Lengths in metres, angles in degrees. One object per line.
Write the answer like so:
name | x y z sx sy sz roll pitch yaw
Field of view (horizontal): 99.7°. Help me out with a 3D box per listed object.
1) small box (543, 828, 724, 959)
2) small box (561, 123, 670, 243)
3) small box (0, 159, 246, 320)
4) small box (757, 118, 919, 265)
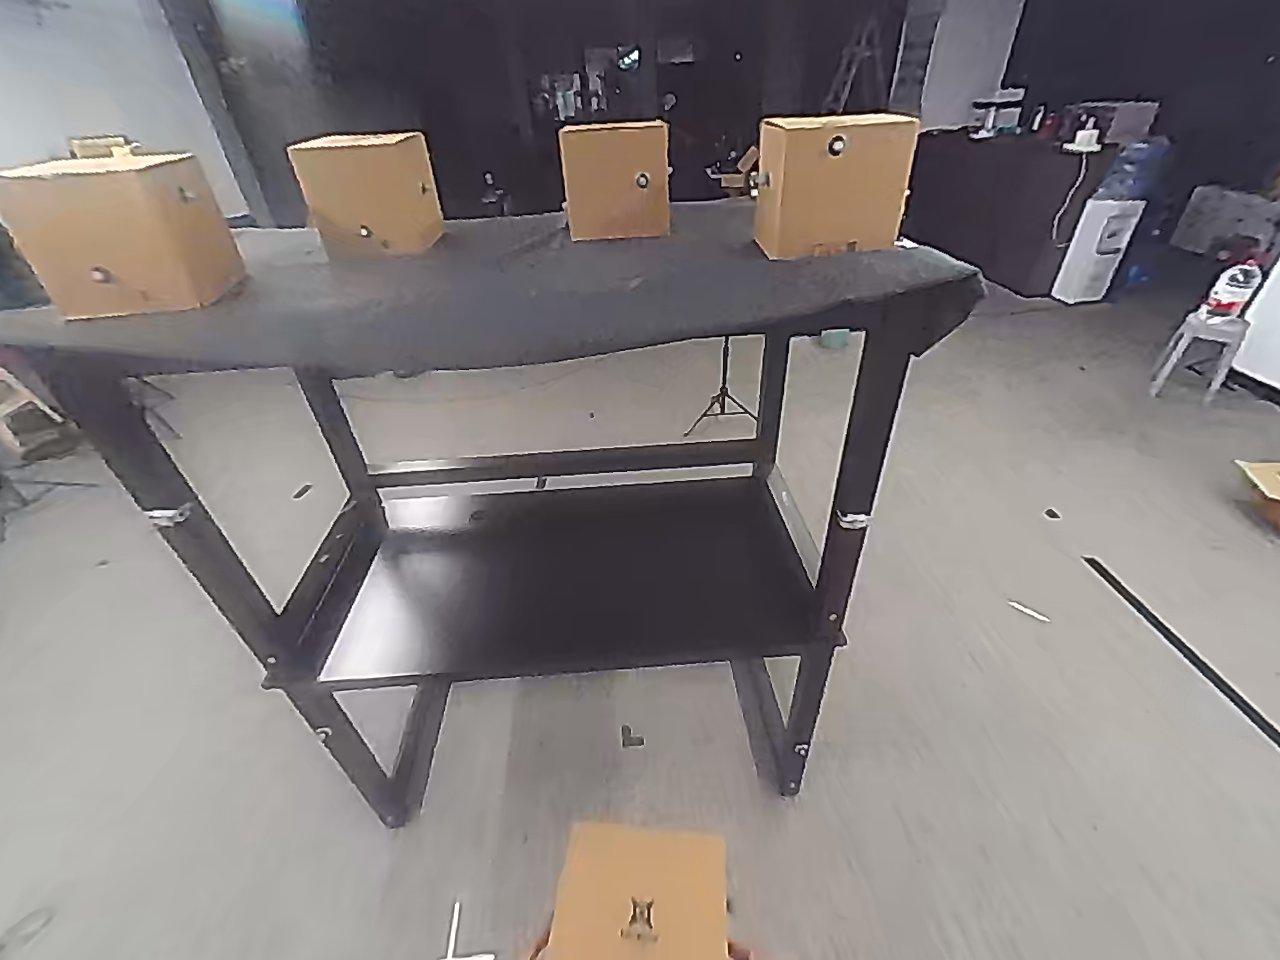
small box | -0.006 0.495 0.543 0.168 0.176 0.179 3 28 5
small box | -0.039 -0.533 0.970 0.179 0.176 0.168 -3 35 0
small box | -0.683 -0.331 0.739 0.168 0.176 0.179 -9 37 -9
small box | 0.267 -0.416 0.779 0.168 0.176 0.179 -3 35 3
